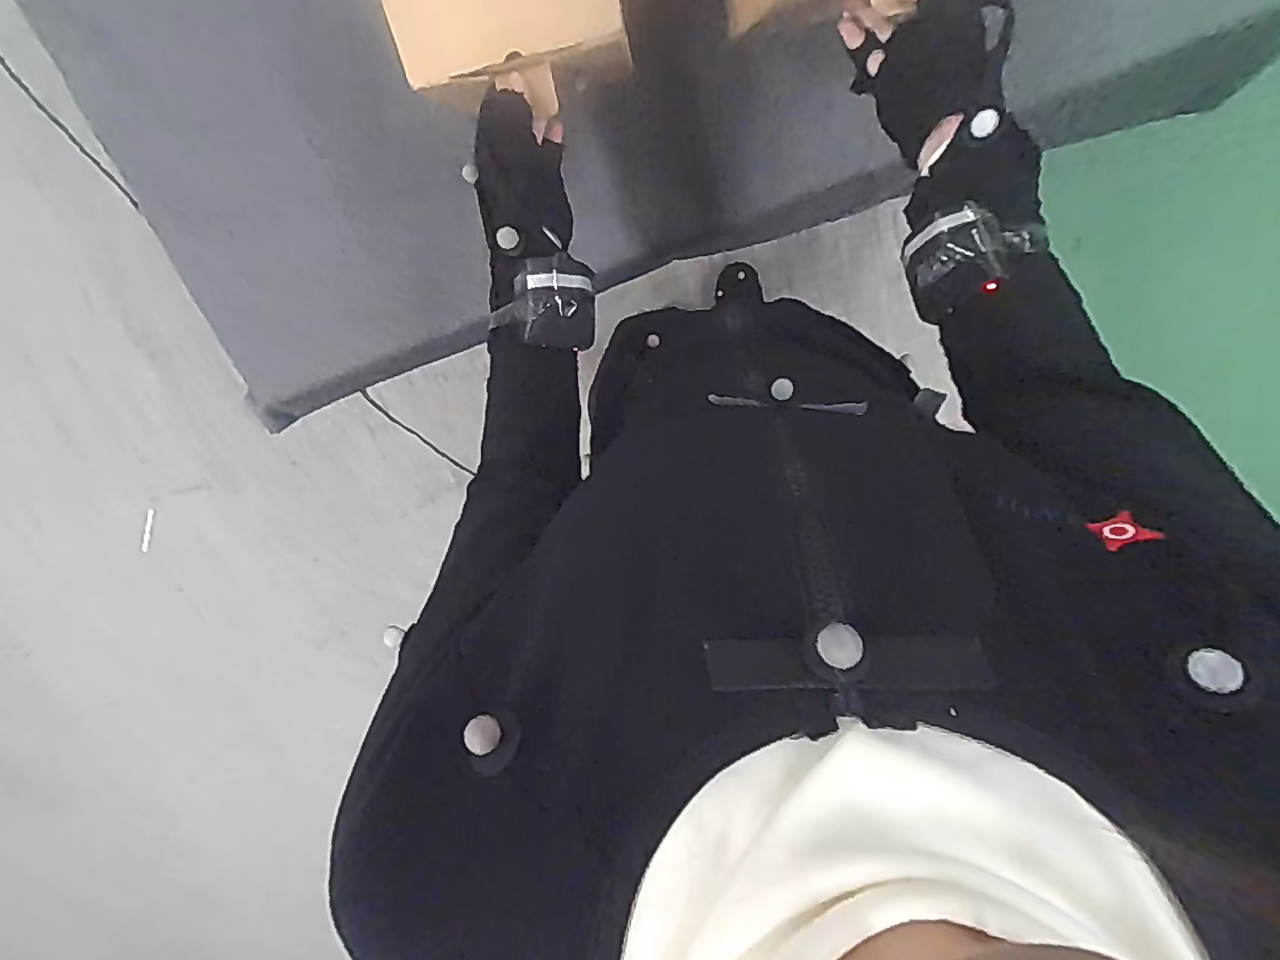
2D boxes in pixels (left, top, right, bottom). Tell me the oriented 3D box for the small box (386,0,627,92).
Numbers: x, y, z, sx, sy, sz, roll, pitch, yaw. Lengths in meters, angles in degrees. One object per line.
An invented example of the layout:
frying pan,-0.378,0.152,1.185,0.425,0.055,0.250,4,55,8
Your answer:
small box,-0.104,-0.424,0.420,0.168,0.176,0.179,-9,118,5

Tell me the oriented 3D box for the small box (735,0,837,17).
small box,0.156,-0.467,0.388,0.168,0.176,0.179,-15,121,-1
